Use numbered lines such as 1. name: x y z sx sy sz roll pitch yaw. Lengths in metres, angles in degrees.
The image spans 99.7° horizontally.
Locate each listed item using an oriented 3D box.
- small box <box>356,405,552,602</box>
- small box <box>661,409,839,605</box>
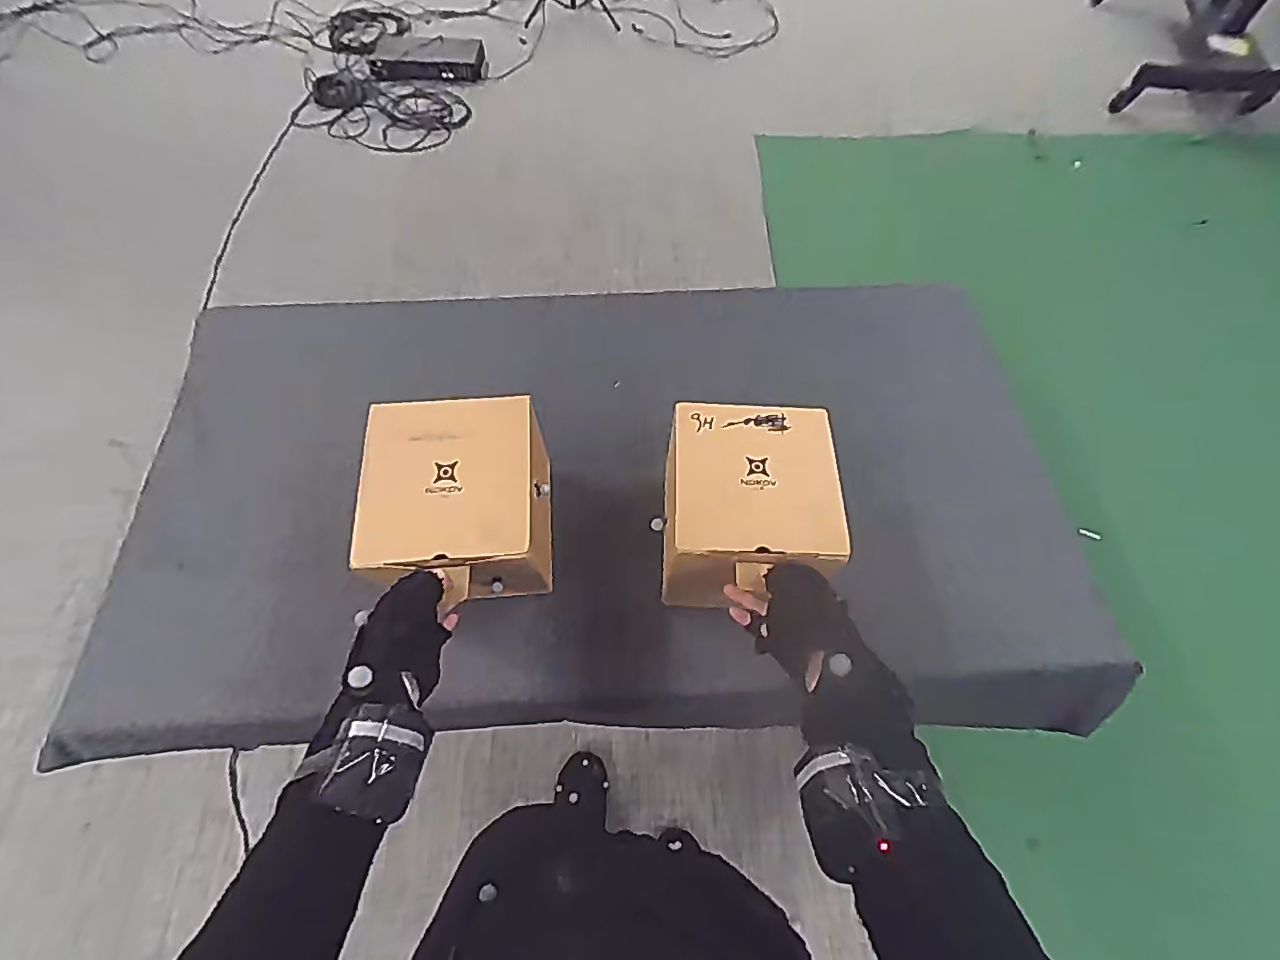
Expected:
1. small box: -0.194 0.037 0.614 0.168 0.176 0.179 -5 66 -3
2. small box: 0.111 0.038 0.620 0.168 0.176 0.179 2 62 0
